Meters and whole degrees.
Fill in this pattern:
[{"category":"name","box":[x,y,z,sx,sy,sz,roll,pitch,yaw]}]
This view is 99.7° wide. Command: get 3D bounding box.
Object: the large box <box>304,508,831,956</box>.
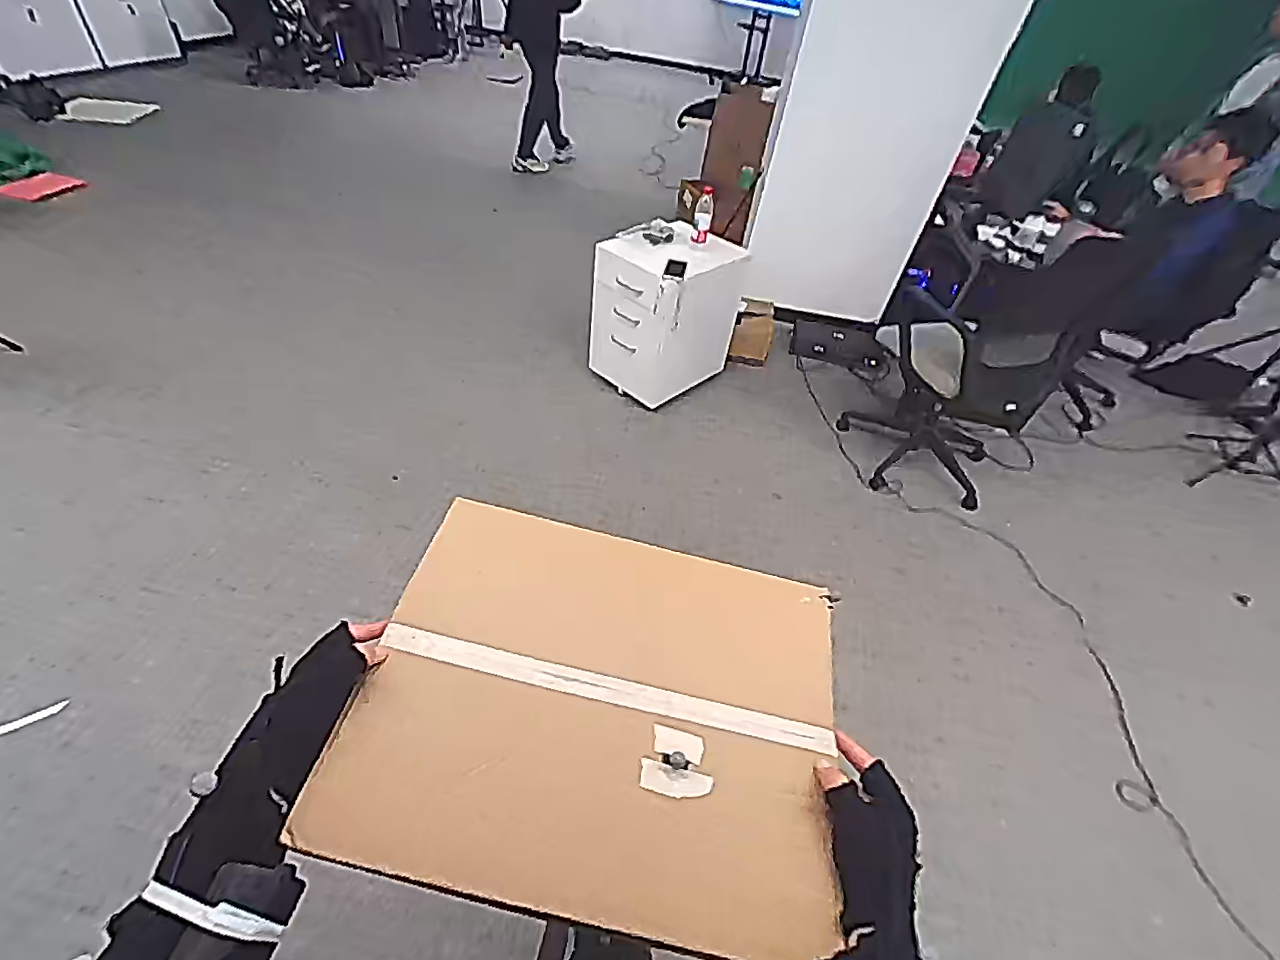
[{"category":"large box","box":[-0.052,0.279,0.600,0.408,0.320,0.320,14,51,-1]}]
